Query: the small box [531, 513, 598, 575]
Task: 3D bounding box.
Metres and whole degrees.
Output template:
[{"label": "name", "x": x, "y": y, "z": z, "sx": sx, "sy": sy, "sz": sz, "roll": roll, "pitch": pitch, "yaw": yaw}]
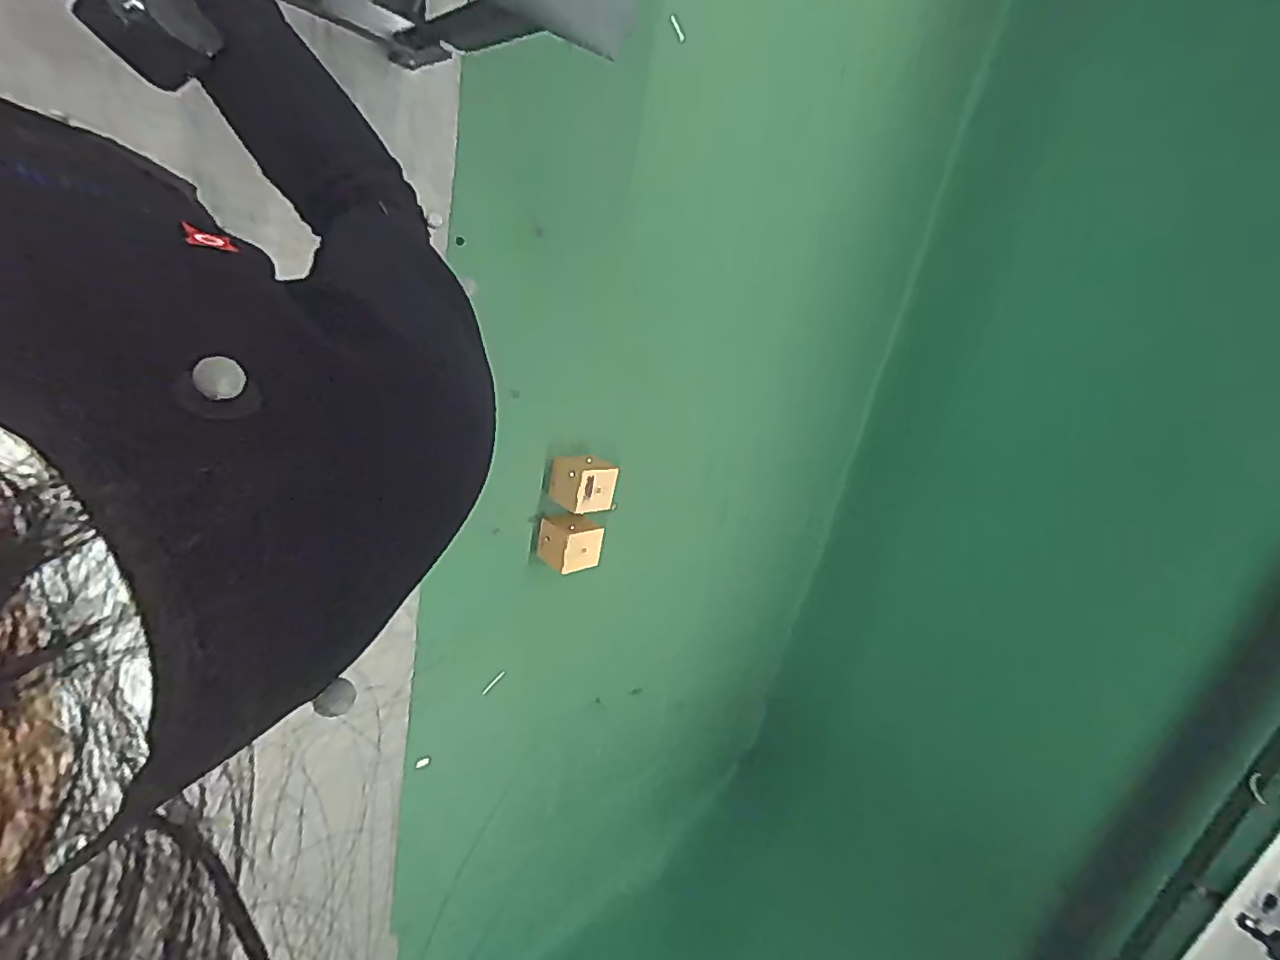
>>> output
[{"label": "small box", "x": -0.291, "y": 0.238, "z": 2.079, "sx": 0.179, "sy": 0.176, "sz": 0.168, "roll": -8, "pitch": 117, "yaw": -45}]
